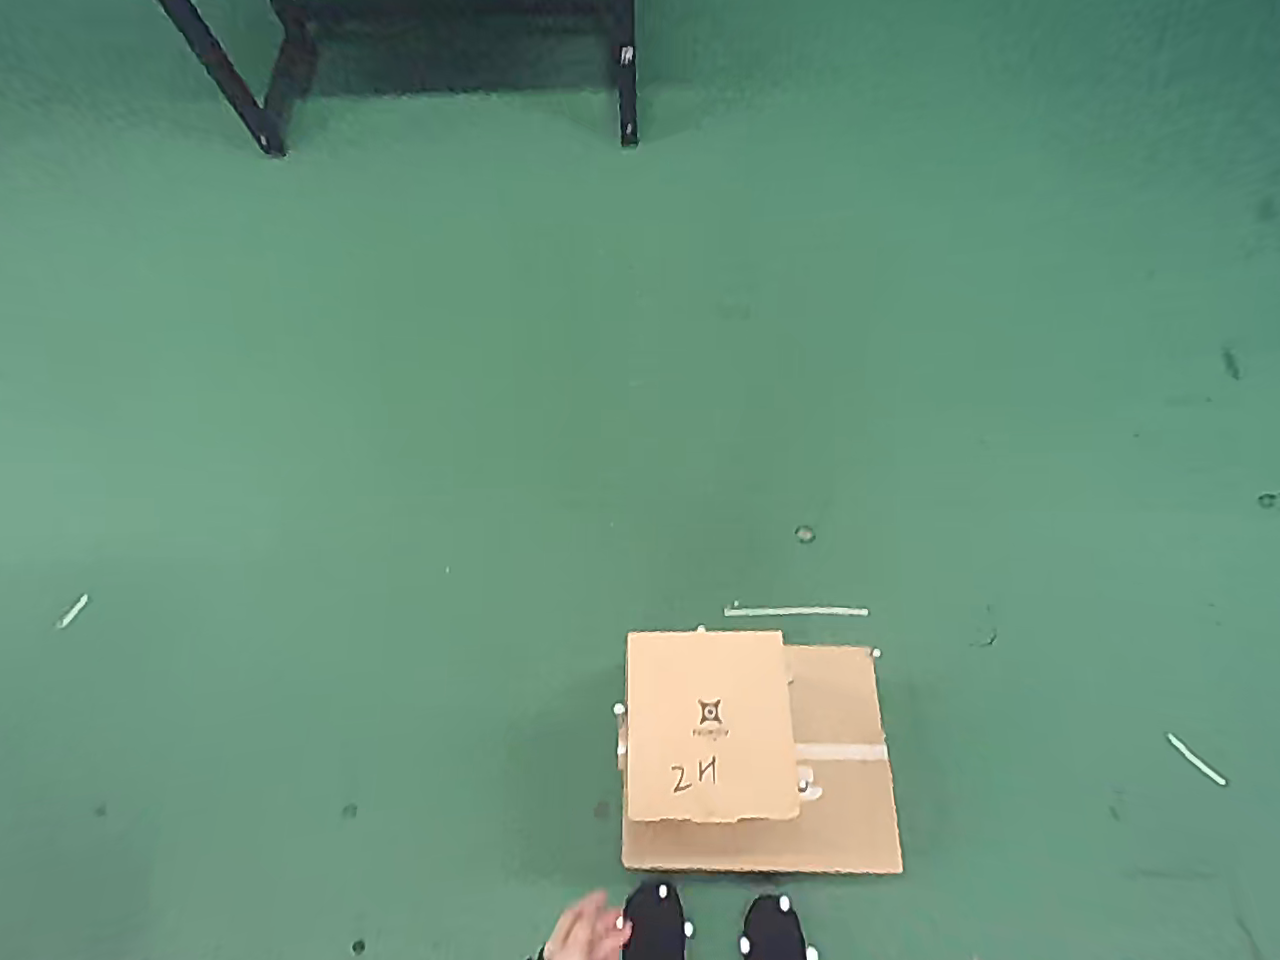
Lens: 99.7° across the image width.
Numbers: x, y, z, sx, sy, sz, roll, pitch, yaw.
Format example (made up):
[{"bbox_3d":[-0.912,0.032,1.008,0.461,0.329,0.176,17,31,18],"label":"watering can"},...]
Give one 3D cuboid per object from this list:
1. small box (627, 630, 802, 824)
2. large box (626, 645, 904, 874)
[{"bbox_3d":[0.069,0.270,0.606,0.168,0.176,0.179,-1,67,1],"label":"small box"},{"bbox_3d":[0.178,0.473,0.961,0.408,0.320,0.320,0,68,0],"label":"large box"}]
